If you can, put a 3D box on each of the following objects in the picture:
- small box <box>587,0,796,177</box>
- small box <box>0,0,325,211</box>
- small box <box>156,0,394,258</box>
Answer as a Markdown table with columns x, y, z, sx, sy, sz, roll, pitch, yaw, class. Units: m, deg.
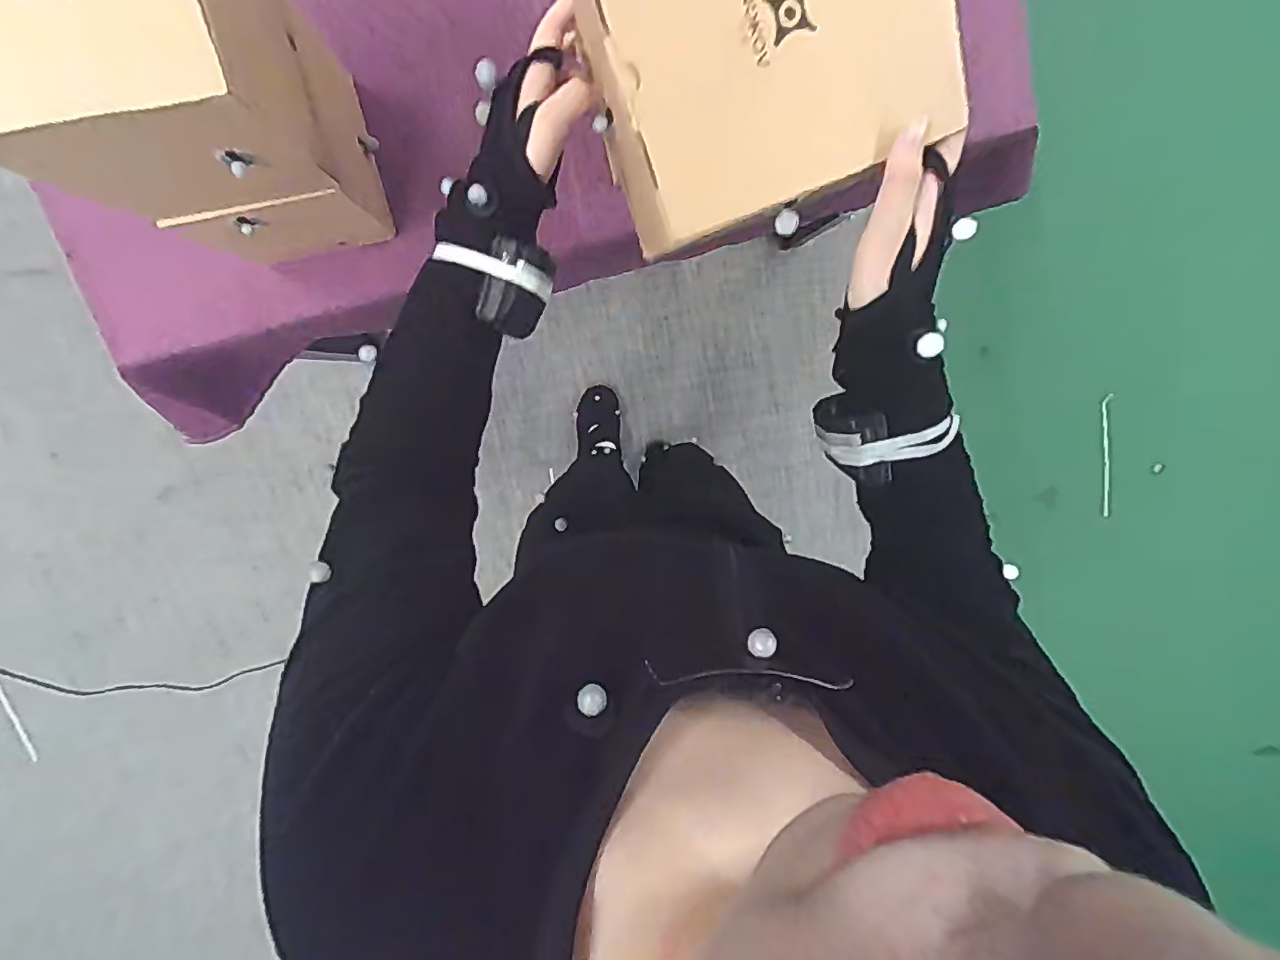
| x | y | z | sx | sy | sz | roll | pitch | yaw | class |
| --- | --- | --- | --- | --- | --- | --- | --- | --- | --- |
| 0.043 | -0.452 | 0.580 | 0.179 | 0.176 | 0.168 | -14 | 103 | -4 | small box |
| -0.361 | -0.316 | 0.393 | 0.179 | 0.176 | 0.168 | -12 | 102 | -4 | small box |
| -0.380 | -0.348 | 0.553 | 0.168 | 0.176 | 0.179 | -13 | 102 | -3 | small box |
